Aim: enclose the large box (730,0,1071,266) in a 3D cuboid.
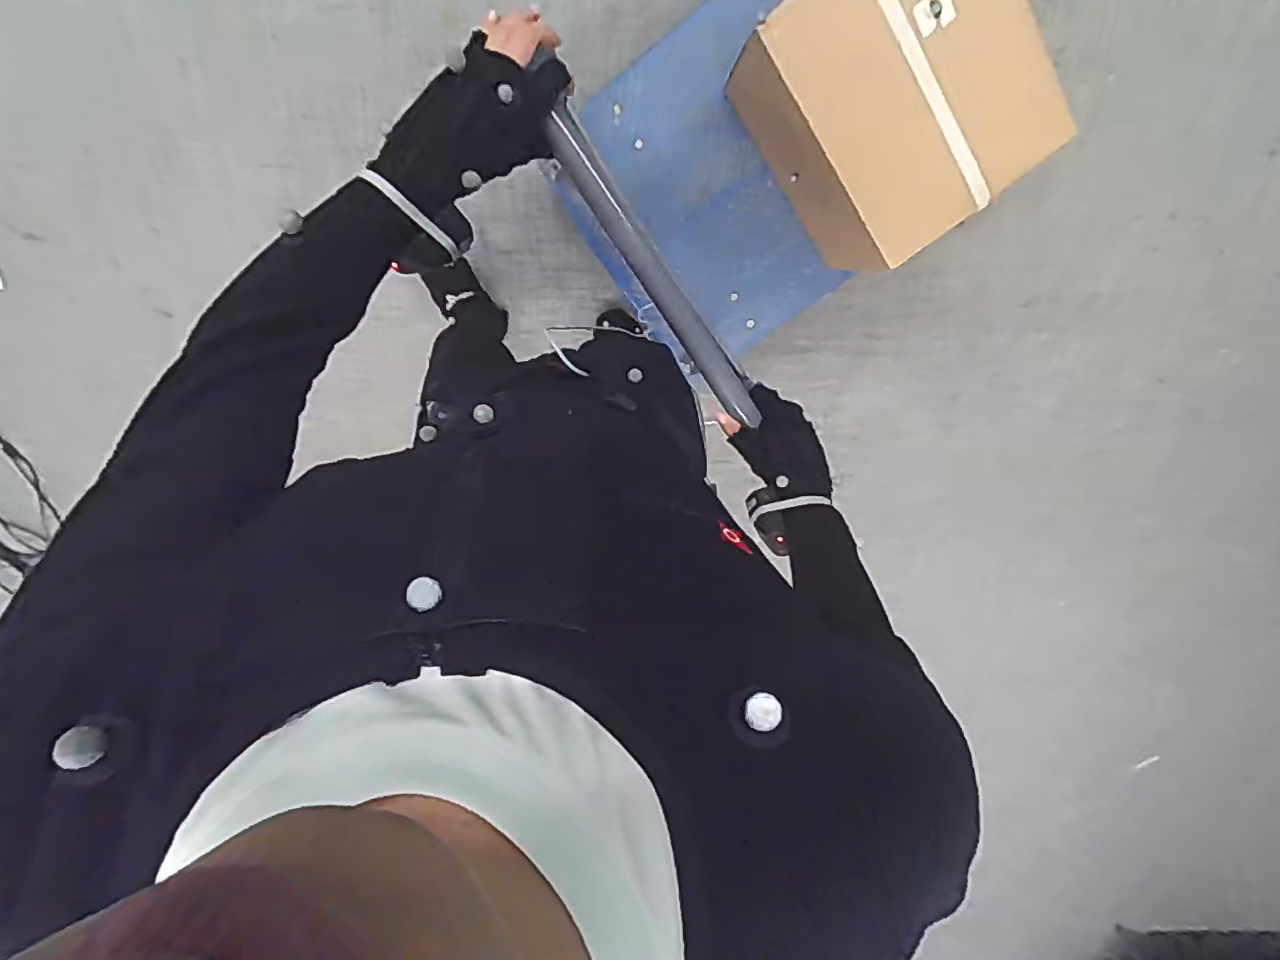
[{"bbox_3d":[0.406,-0.631,0.923,0.320,0.320,0.408,-36,107,13],"label":"large box"}]
